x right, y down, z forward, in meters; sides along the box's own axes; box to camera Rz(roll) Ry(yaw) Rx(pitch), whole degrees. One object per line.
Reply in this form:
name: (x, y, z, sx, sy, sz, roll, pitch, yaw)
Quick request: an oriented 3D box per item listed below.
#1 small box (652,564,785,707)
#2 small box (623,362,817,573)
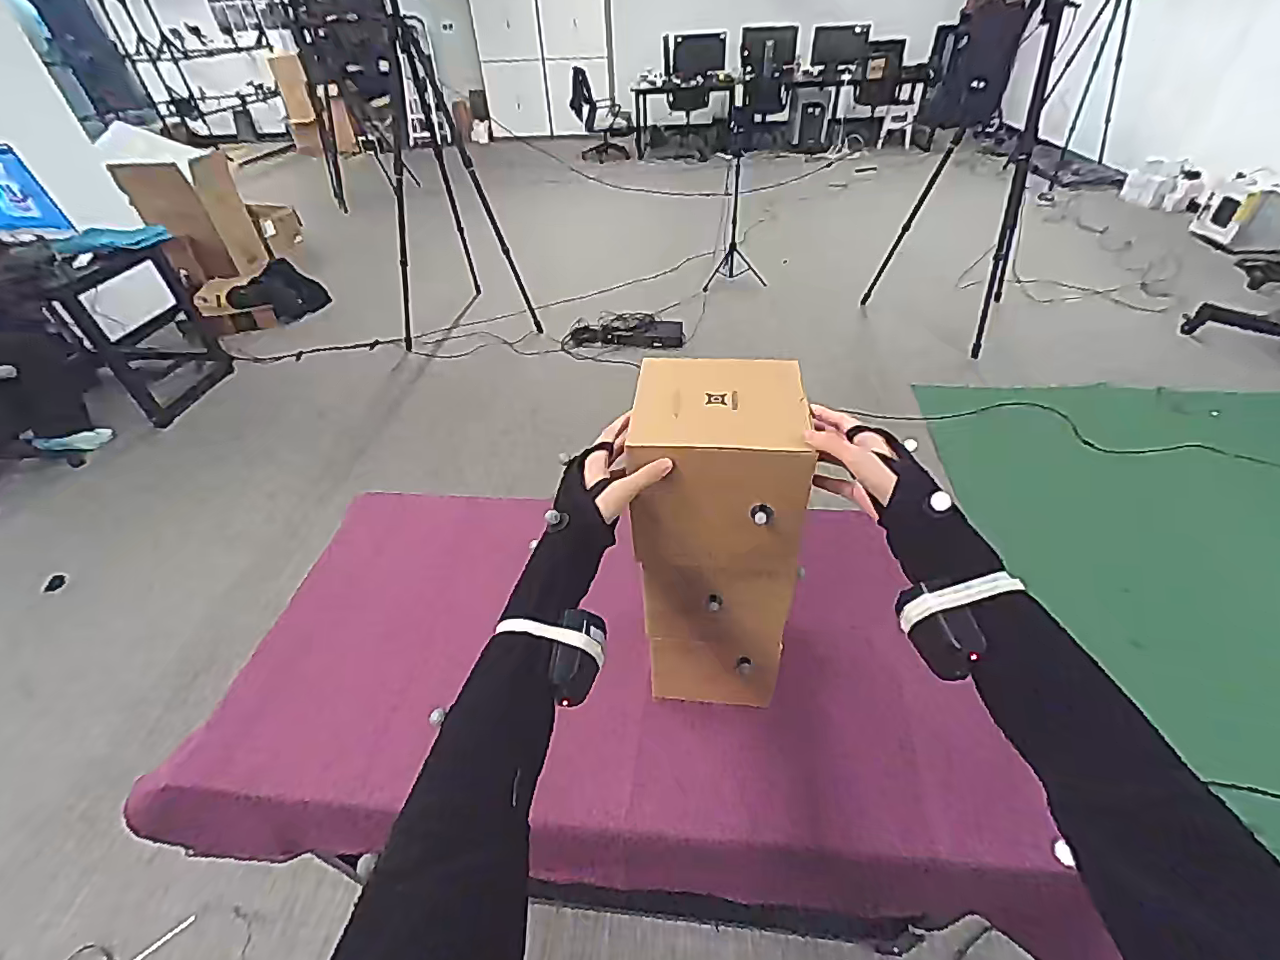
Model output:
small box: (0.115, 0.225, 0.820, 0.179, 0.176, 0.168, 3, 41, 7)
small box: (0.084, -0.014, 0.596, 0.179, 0.176, 0.168, 2, 41, 7)
